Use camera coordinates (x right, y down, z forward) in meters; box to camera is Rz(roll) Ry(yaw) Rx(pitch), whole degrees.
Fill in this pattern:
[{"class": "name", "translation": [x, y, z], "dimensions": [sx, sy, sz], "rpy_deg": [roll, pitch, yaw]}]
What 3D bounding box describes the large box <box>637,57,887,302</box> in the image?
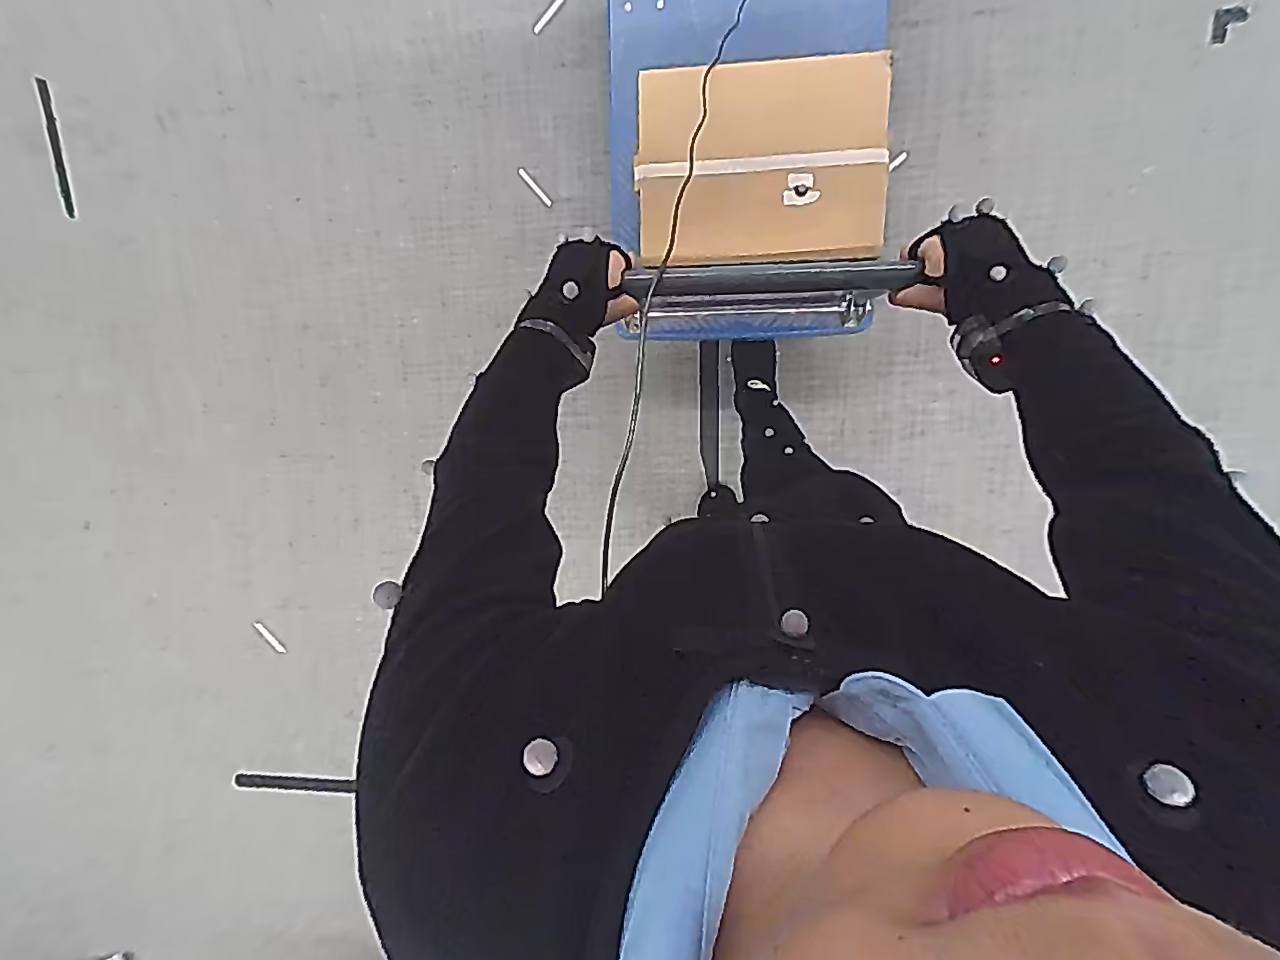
[{"class": "large box", "translation": [0.211, -0.535, 1.040], "dimensions": [0.408, 0.320, 0.320], "rpy_deg": [0, 100, 6]}]
